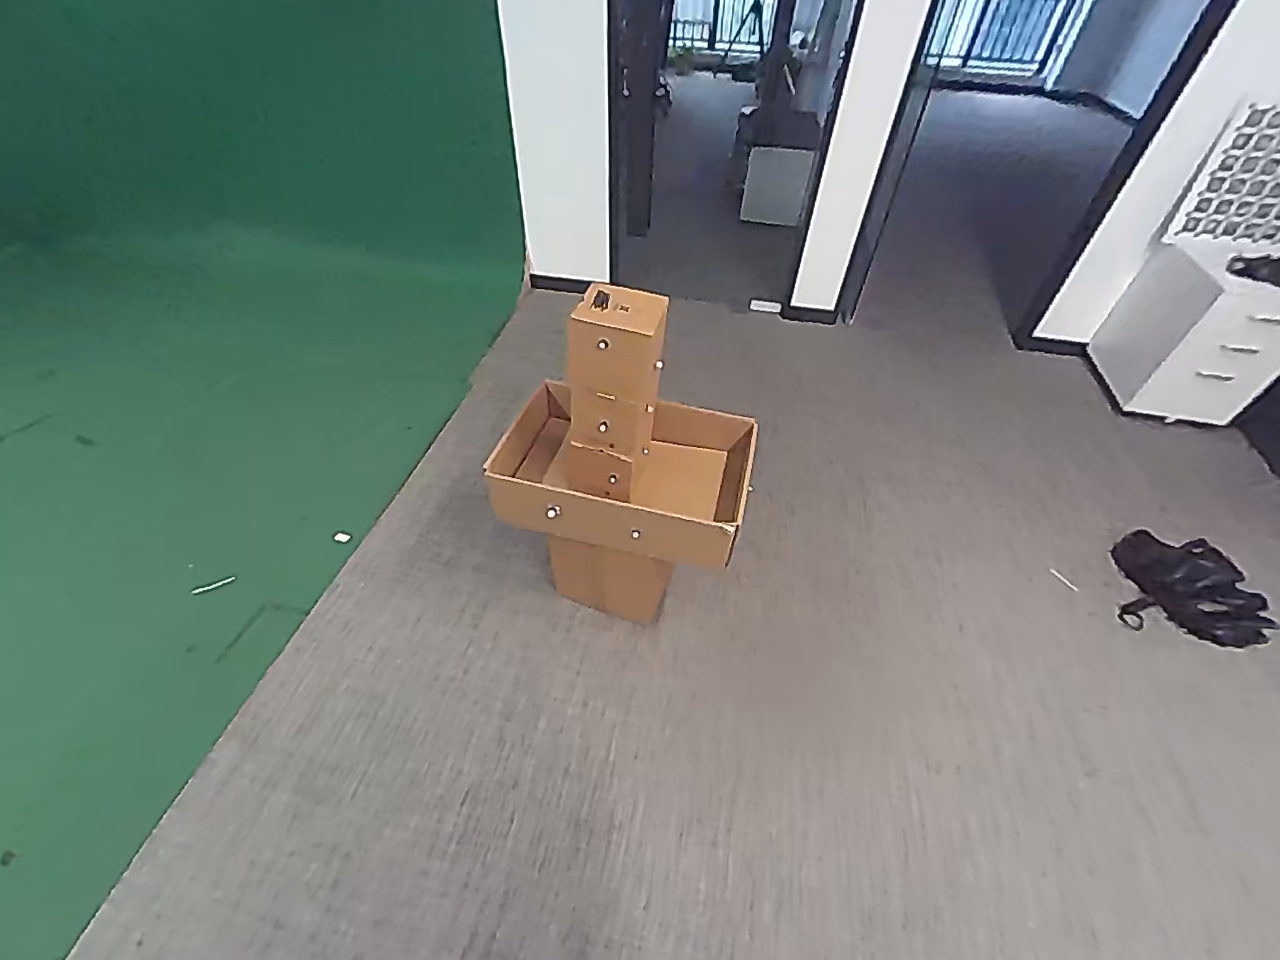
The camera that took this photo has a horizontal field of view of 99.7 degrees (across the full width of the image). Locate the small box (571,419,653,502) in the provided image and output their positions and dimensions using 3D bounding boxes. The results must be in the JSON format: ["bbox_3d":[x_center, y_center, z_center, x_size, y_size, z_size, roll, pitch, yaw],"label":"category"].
[{"bbox_3d":[-0.073,-0.069,1.417,0.168,0.176,0.179,16,45,8],"label":"small box"}]

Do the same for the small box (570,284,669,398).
[{"bbox_3d":[-0.046,-0.301,1.185,0.179,0.176,0.168,14,47,5],"label":"small box"}]

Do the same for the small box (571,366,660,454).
[{"bbox_3d":[-0.057,-0.189,1.306,0.168,0.176,0.179,15,48,8],"label":"small box"}]
